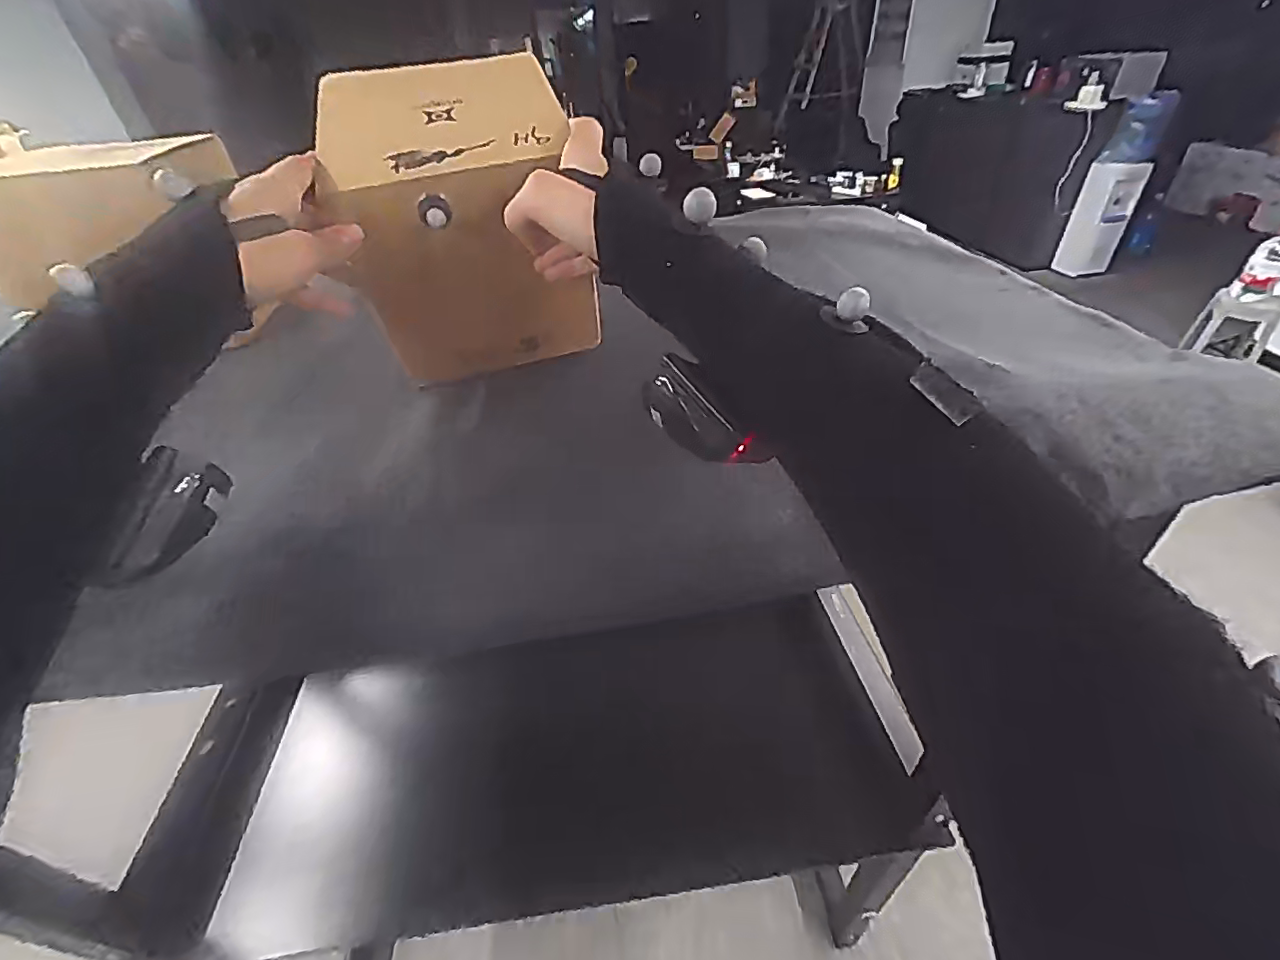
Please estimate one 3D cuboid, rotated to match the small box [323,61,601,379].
[{"bbox_3d":[-0.134,-0.214,0.452,0.168,0.176,0.179,-14,55,-8],"label":"small box"}]
